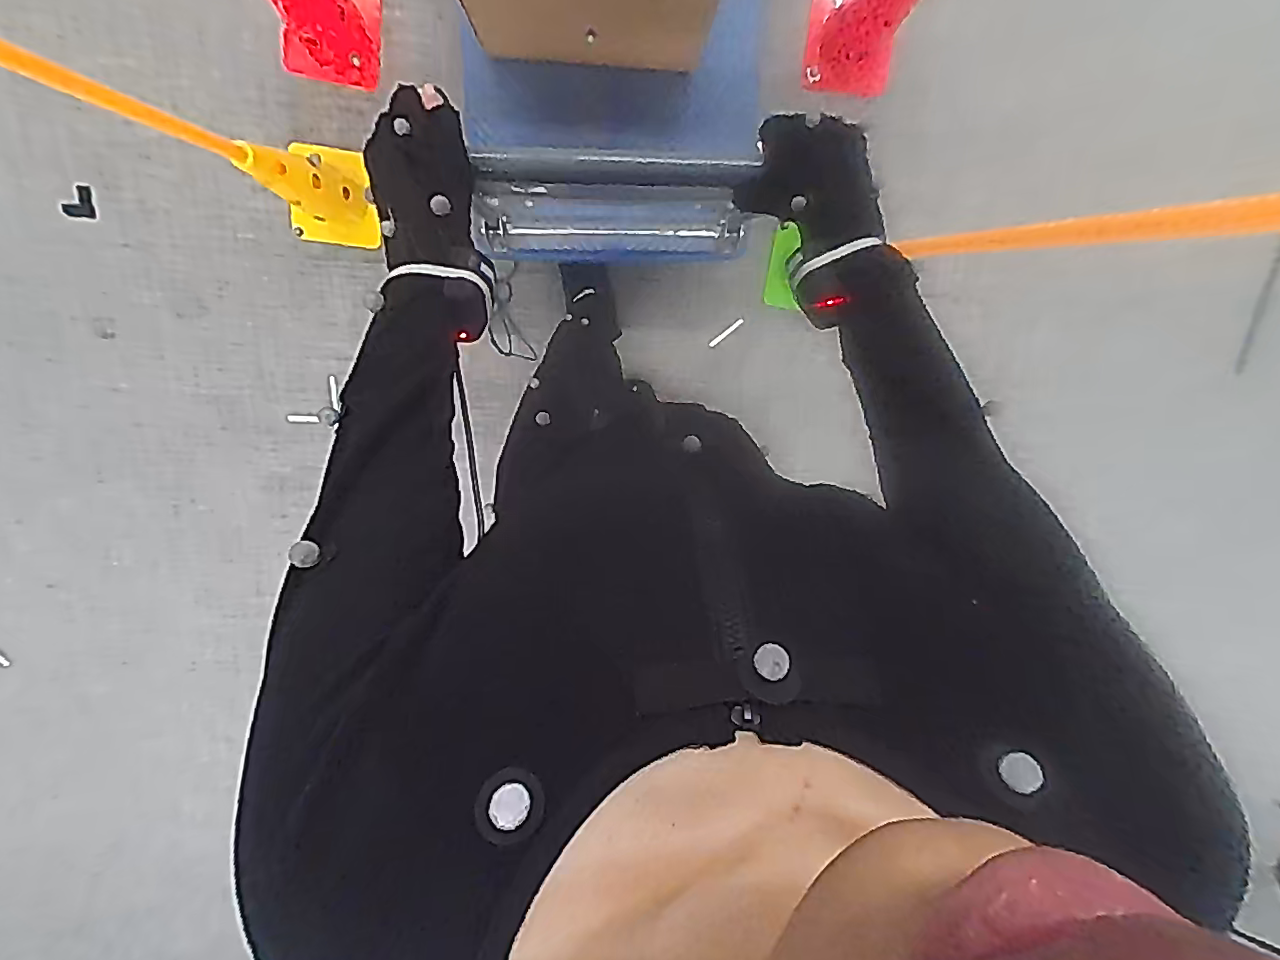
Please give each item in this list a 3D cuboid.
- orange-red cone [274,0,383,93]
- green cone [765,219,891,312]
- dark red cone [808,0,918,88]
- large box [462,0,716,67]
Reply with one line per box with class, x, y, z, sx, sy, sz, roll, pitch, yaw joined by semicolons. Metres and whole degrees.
orange-red cone;-0.644;-0.914;0.993;0.198;0.360;0.199;9;105;-7
green cone;0.436;-0.484;1.189;0.202;0.368;0.200;6;106;-7
dark red cone;0.489;-0.941;1.035;0.201;0.394;0.202;2;107;-6
large box;-0.082;-0.915;0.875;0.408;0.320;0.320;1;107;-3
